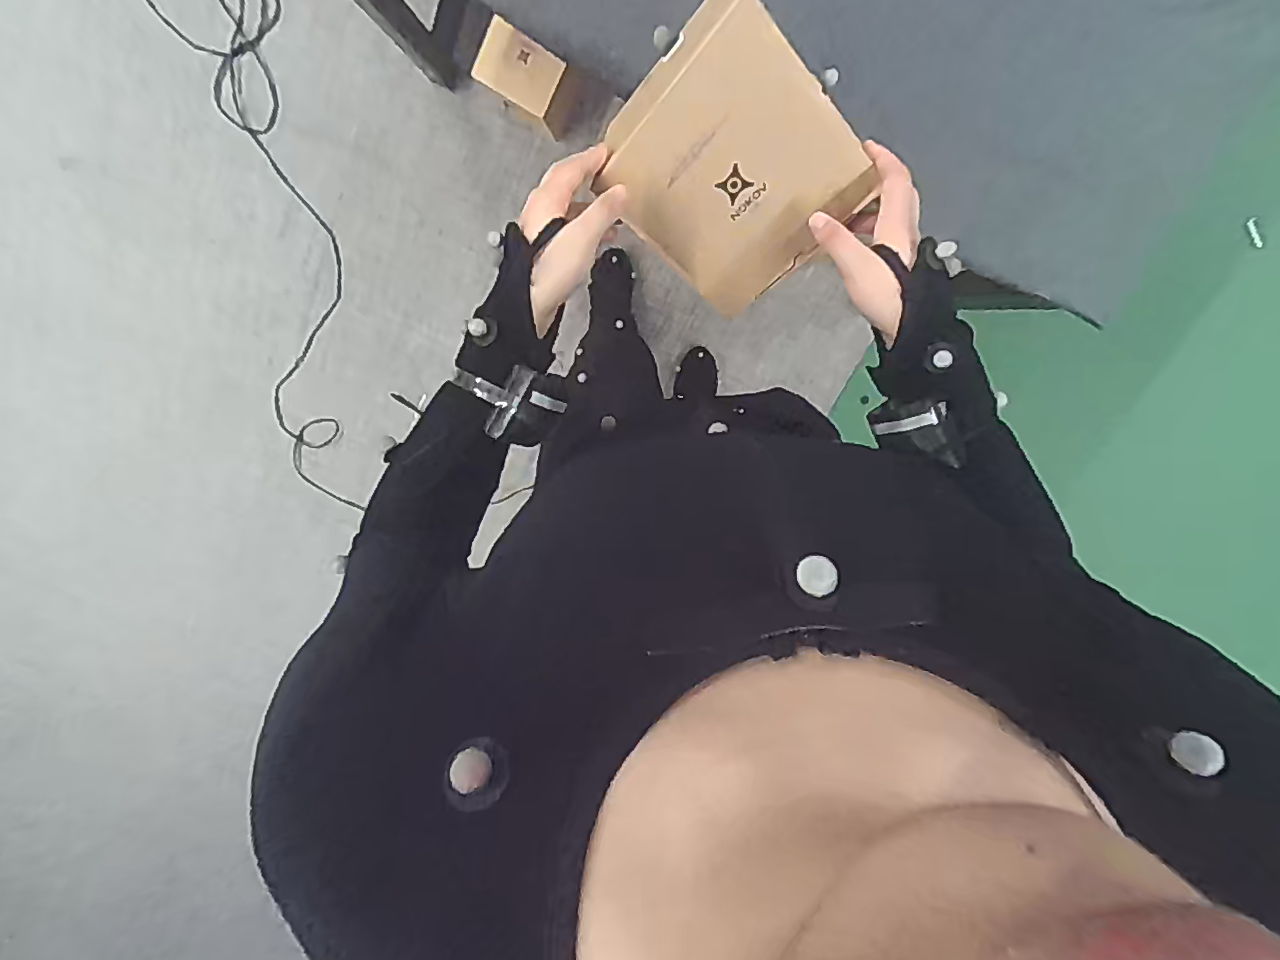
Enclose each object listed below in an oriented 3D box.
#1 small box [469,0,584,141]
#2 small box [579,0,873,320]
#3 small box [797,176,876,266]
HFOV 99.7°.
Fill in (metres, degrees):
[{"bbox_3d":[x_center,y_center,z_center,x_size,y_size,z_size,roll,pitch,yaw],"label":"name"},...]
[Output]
[{"bbox_3d":[-0.231,-0.865,1.149,0.168,0.176,0.179,29,105,-7],"label":"small box"},{"bbox_3d":[0.072,-0.288,0.481,0.179,0.176,0.168,34,129,-27],"label":"small box"},{"bbox_3d":[0.390,-0.599,1.219,0.168,0.176,0.179,20,107,-6],"label":"small box"}]
